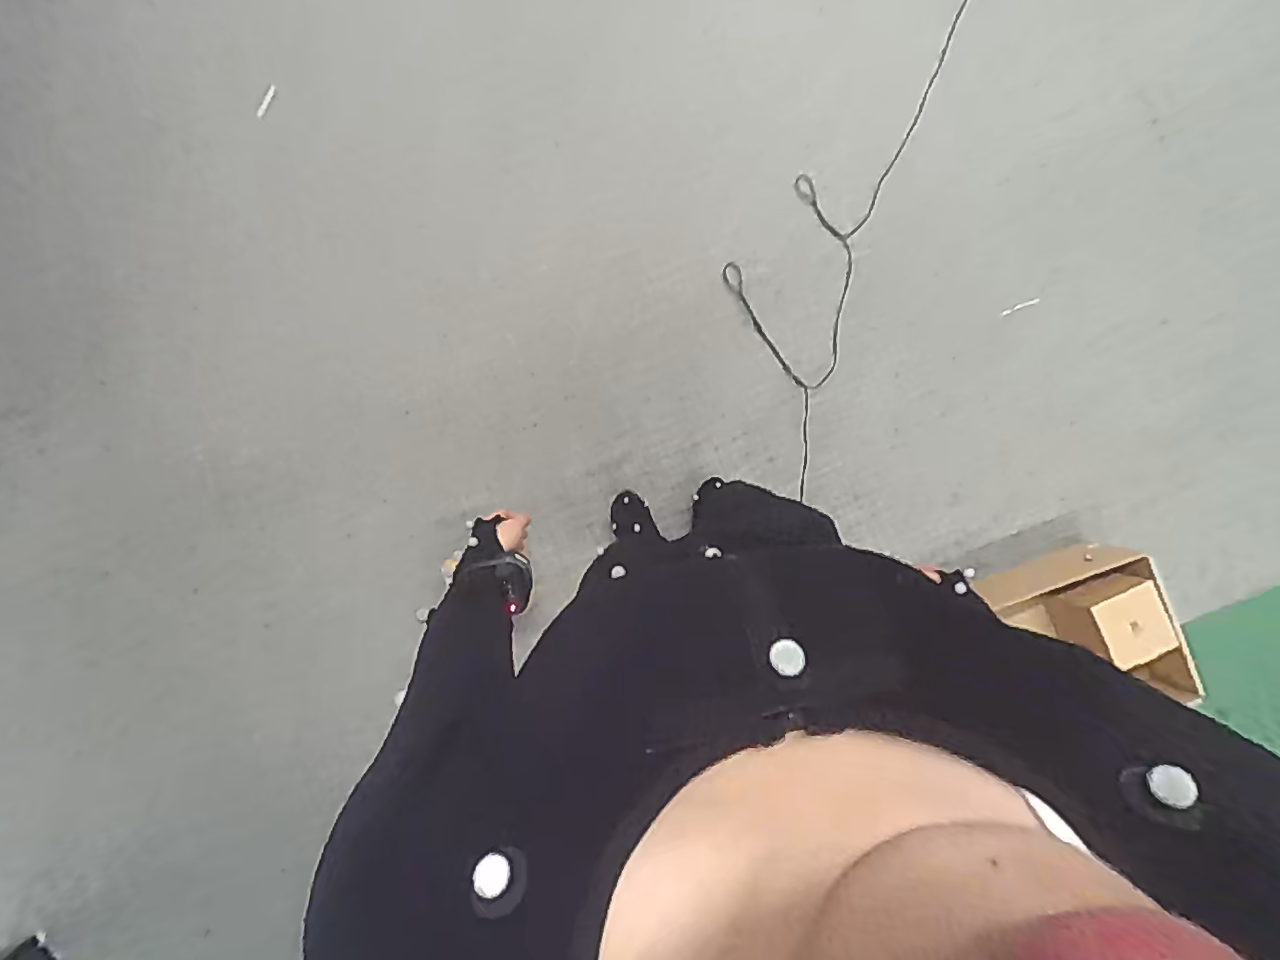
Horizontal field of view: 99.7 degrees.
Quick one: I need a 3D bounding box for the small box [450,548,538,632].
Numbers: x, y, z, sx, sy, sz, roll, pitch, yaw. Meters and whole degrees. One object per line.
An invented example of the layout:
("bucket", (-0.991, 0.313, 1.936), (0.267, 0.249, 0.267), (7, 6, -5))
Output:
("small box", (-0.371, 0.279, 1.410), (0.179, 0.176, 0.168), (-10, 90, -1))
